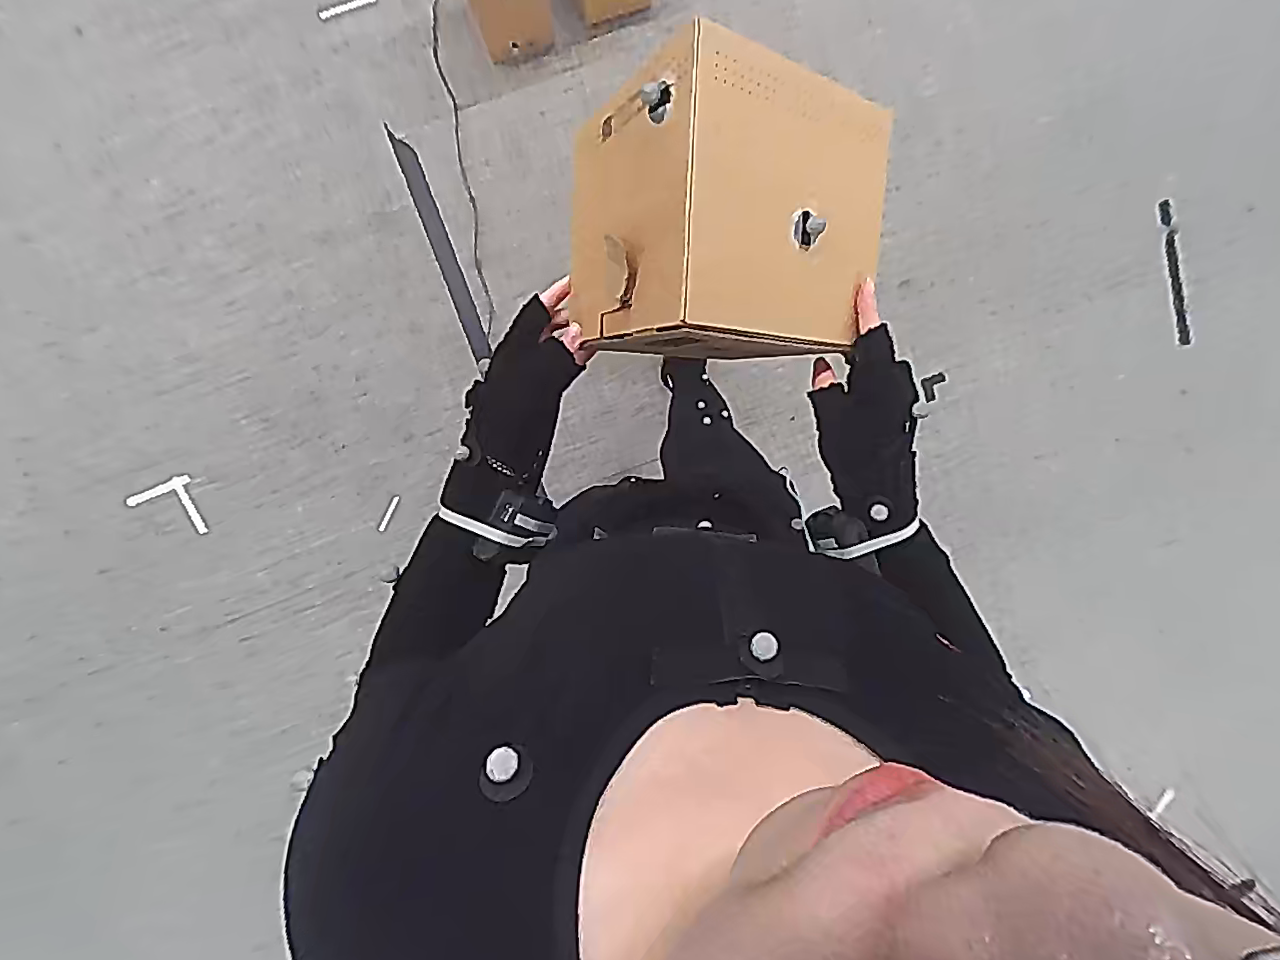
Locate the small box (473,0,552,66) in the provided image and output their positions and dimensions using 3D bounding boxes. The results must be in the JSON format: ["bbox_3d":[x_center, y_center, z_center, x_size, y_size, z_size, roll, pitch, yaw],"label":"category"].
[{"bbox_3d":[-0.308,-1.092,1.216,0.168,0.176,0.179,-20,100,0],"label":"small box"}]

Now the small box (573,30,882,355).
[{"bbox_3d":[0.060,-0.194,0.418,0.179,0.168,0.176,-4,100,-31],"label":"small box"}]

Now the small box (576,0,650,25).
[{"bbox_3d":[-0.074,-1.183,1.219,0.179,0.176,0.168,-18,99,-2],"label":"small box"}]

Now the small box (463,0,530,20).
[{"bbox_3d":[-0.298,-1.063,1.055,0.179,0.176,0.168,-20,98,0],"label":"small box"}]
